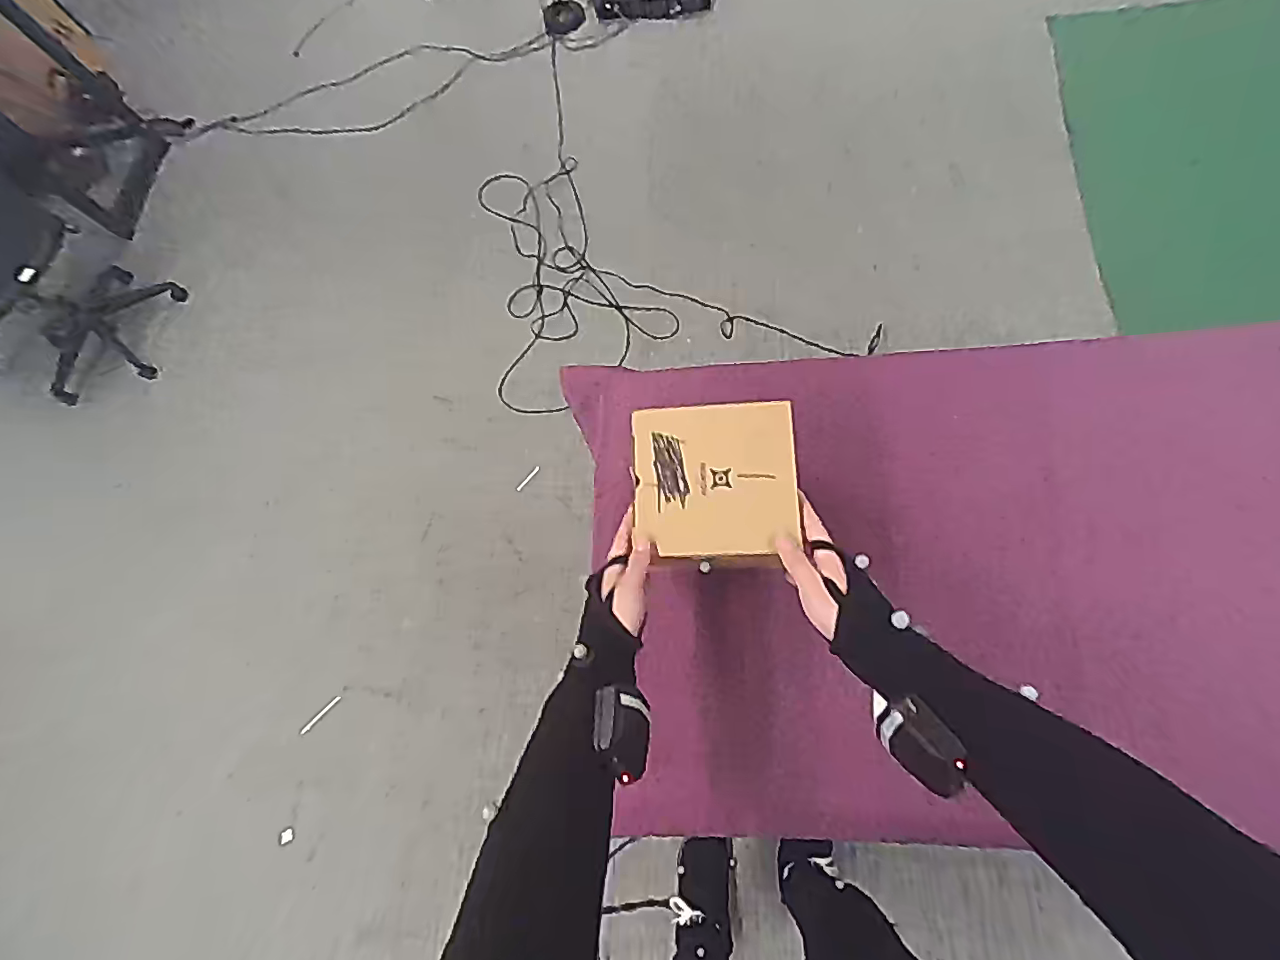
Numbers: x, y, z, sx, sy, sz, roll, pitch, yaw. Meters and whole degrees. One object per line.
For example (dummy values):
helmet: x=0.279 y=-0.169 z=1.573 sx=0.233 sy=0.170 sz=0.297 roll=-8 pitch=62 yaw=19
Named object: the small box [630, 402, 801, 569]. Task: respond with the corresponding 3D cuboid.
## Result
small box: x=0.088 y=0.017 z=0.646 sx=0.179 sy=0.176 sz=0.168 roll=-2 pitch=76 yaw=8
